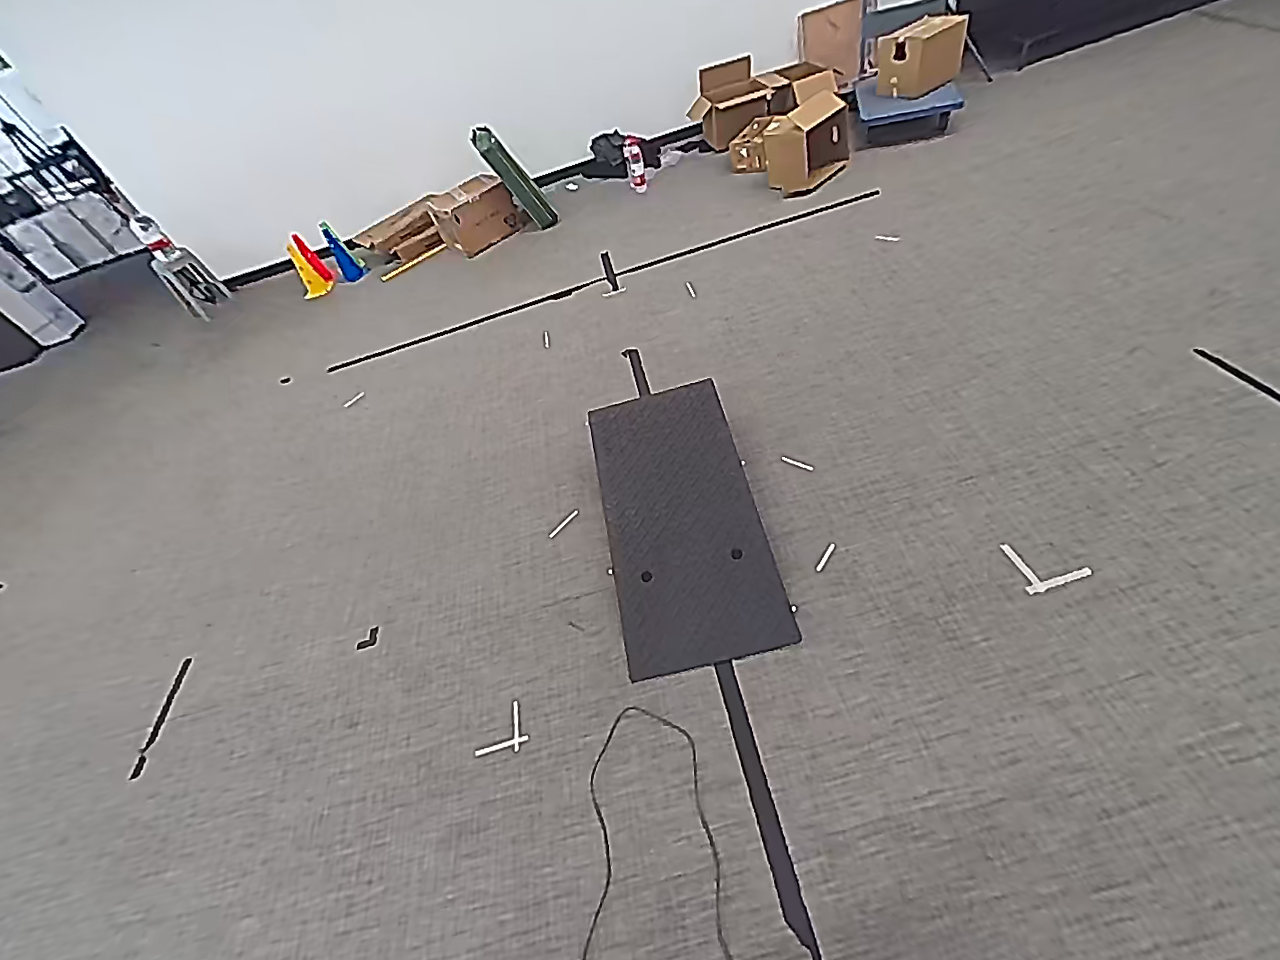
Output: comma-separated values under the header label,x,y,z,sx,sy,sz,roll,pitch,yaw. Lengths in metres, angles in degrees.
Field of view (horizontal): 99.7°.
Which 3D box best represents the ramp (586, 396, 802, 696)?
label,x,y,z,sx,sy,sz,roll,pitch,yaw
ramp,0.124,0.148,1.786,0.509,0.206,0.991,-17,45,2
